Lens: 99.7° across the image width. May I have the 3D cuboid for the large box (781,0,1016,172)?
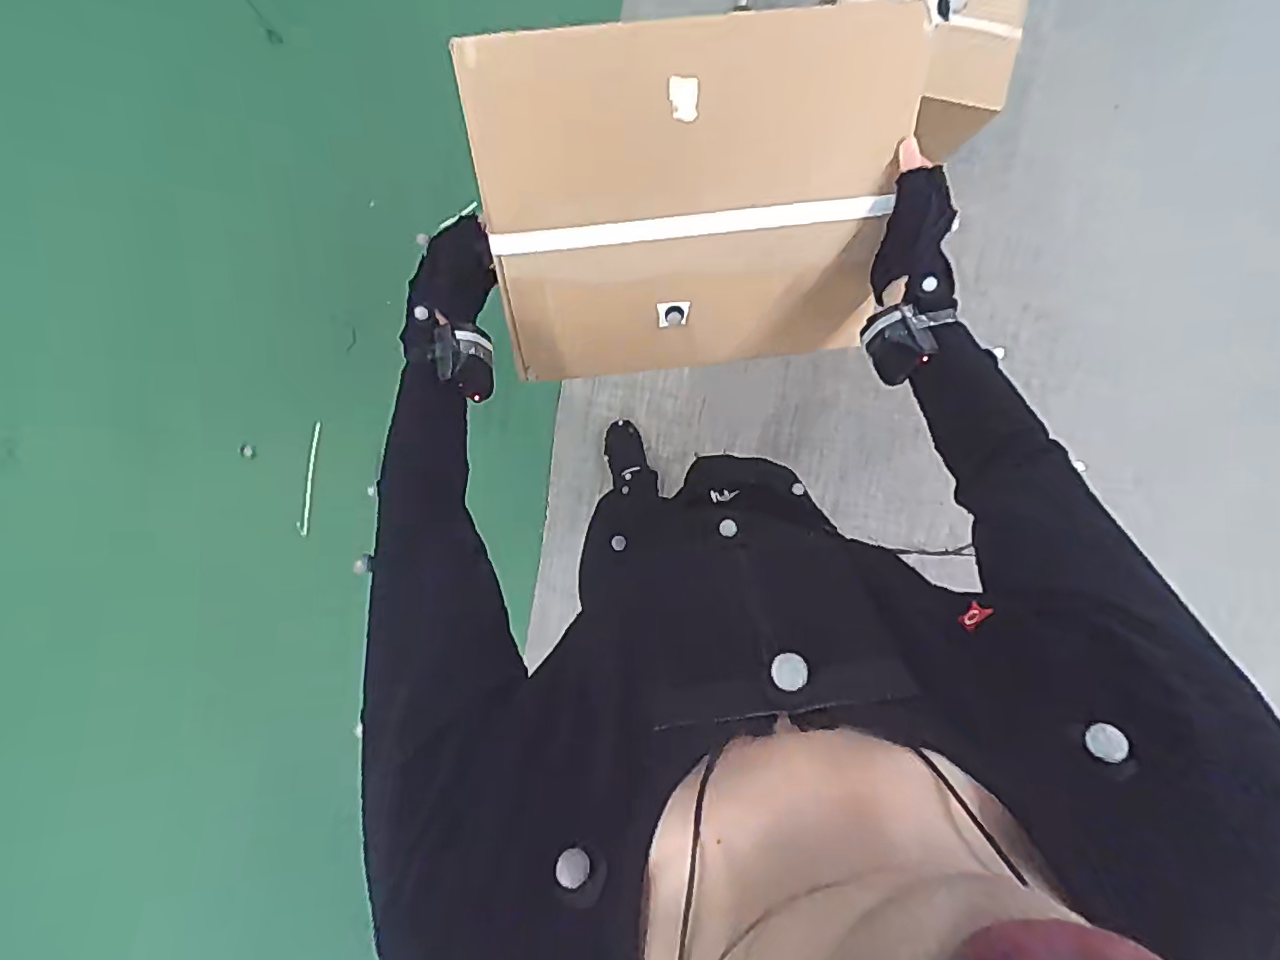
[{"bbox_3d":[0.600,-1.001,1.309,0.408,0.320,0.320,10,93,-1],"label":"large box"}]
